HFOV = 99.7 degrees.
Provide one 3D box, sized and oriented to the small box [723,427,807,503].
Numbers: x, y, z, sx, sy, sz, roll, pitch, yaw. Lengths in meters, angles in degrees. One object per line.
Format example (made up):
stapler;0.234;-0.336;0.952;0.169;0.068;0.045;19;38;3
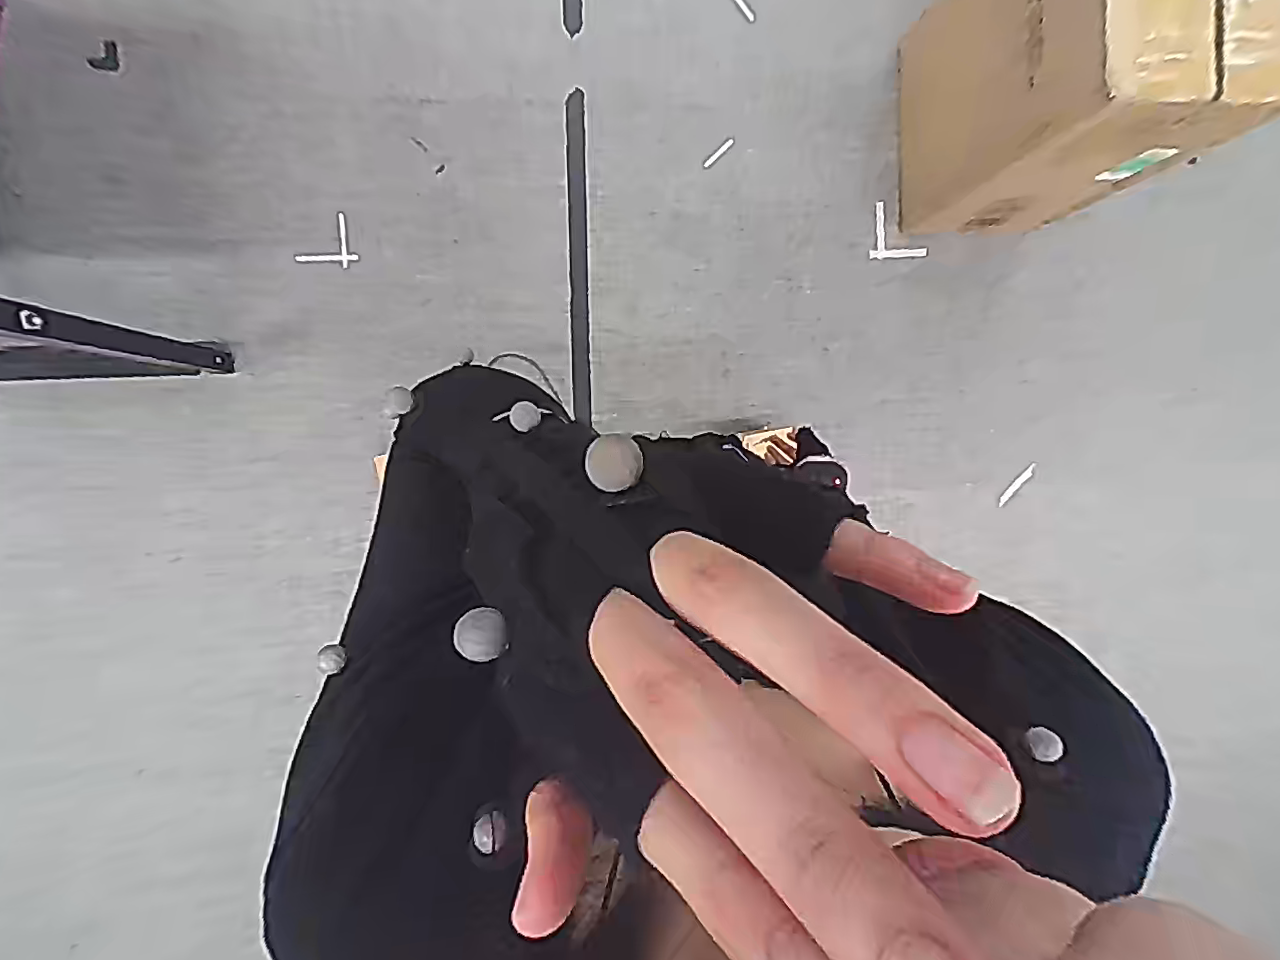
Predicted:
small box;0.335;-0.046;1.467;0.168;0.176;0.179;-11;96;-5
